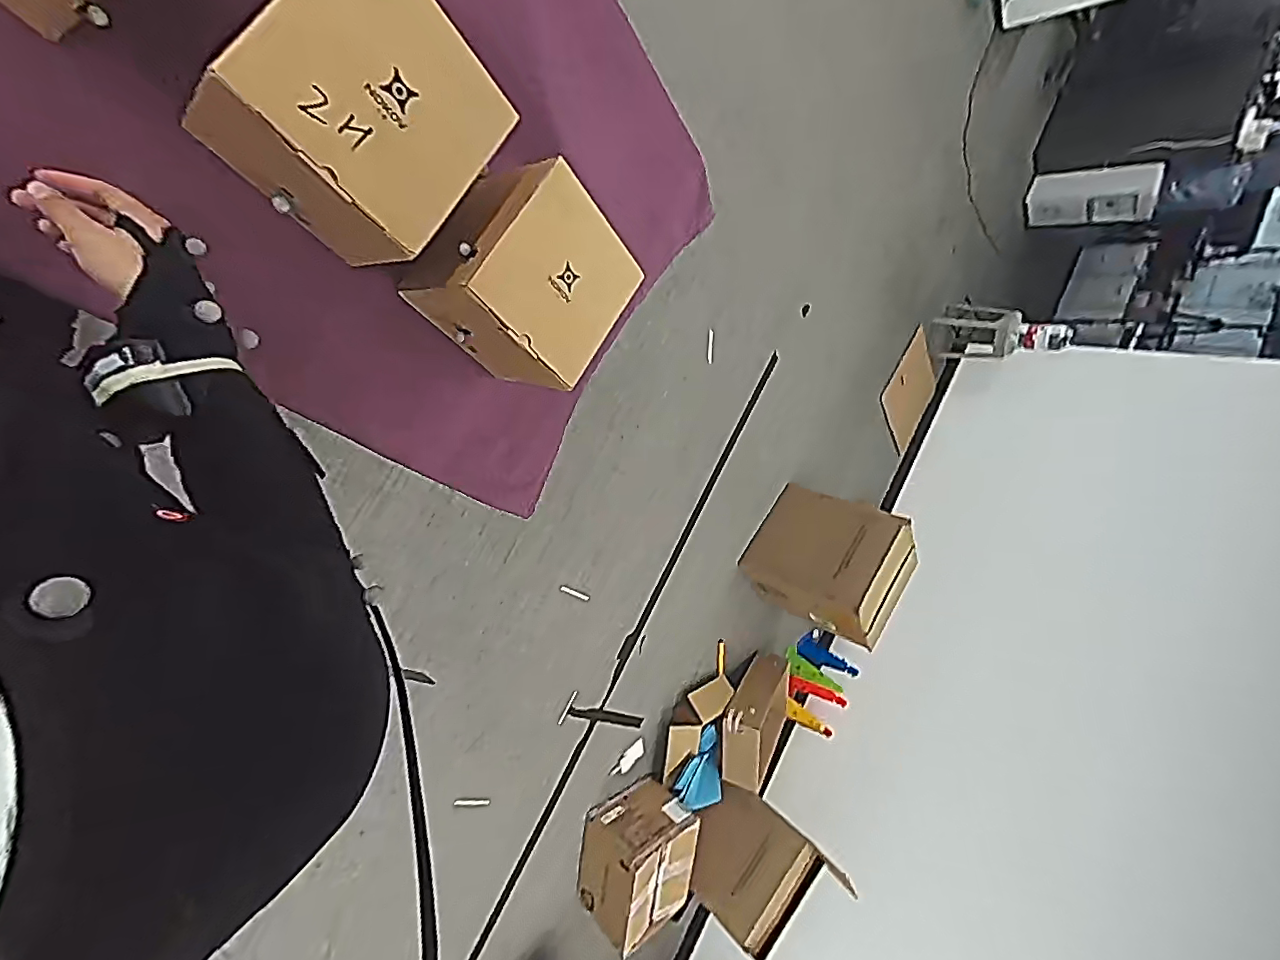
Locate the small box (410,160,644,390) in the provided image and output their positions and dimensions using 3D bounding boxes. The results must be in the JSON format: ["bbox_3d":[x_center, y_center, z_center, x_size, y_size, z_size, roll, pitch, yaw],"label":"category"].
[{"bbox_3d":[-0.134,-0.233,0.633,0.168,0.176,0.179,42,73,-44],"label":"small box"}]

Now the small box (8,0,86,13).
[{"bbox_3d":[-0.390,-0.418,0.307,0.179,0.176,0.168,42,75,-44],"label":"small box"}]
